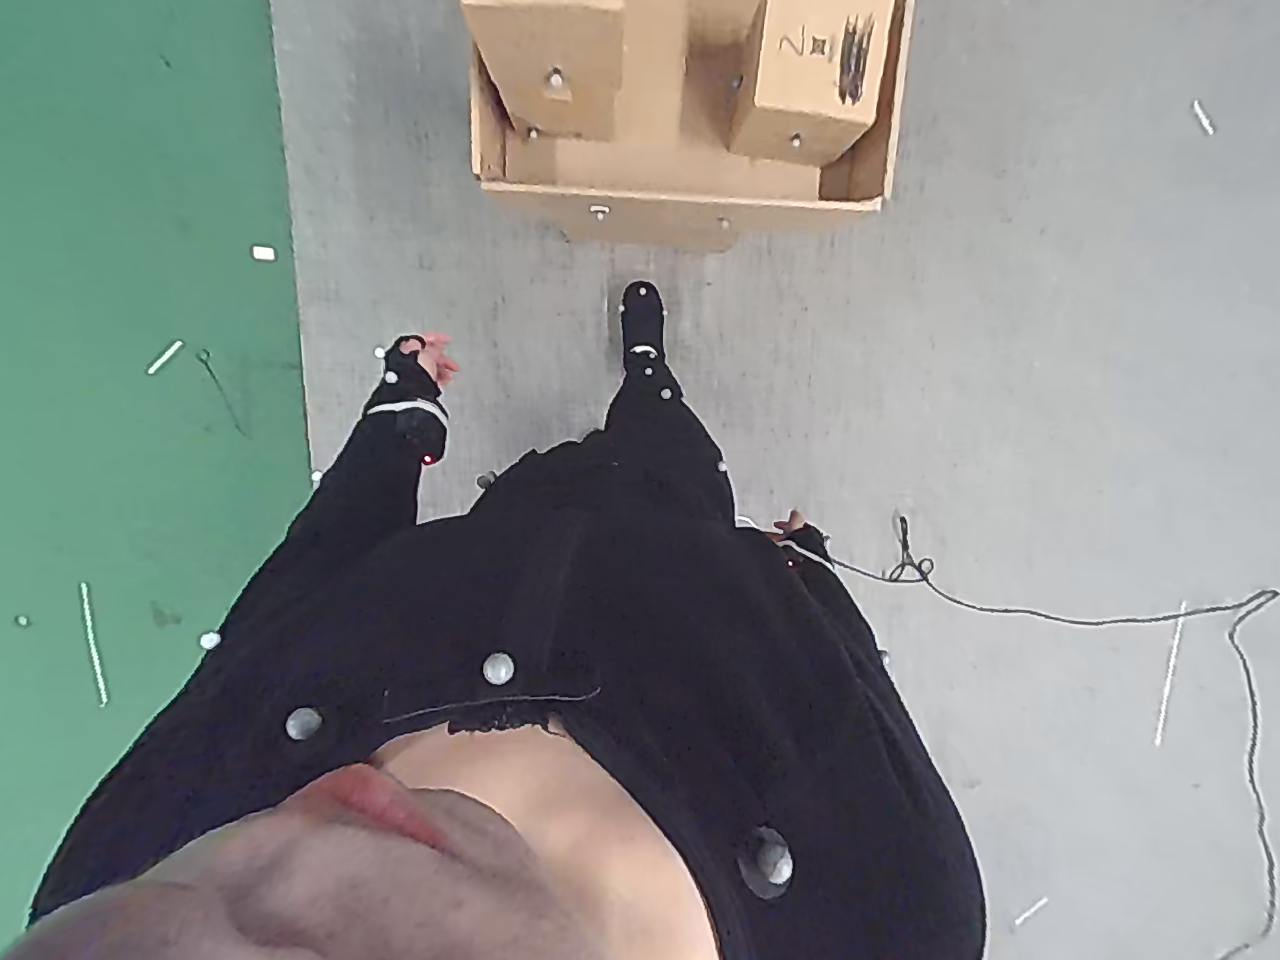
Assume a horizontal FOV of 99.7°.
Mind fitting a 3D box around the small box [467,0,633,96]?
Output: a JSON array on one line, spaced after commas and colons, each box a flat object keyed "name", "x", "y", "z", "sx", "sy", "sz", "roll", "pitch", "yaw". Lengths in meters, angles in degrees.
[{"name": "small box", "x": -0.098, "y": -0.588, "z": 0.641, "sx": 0.179, "sy": 0.176, "sz": 0.168, "roll": 1, "pitch": 100, "yaw": -2}]
